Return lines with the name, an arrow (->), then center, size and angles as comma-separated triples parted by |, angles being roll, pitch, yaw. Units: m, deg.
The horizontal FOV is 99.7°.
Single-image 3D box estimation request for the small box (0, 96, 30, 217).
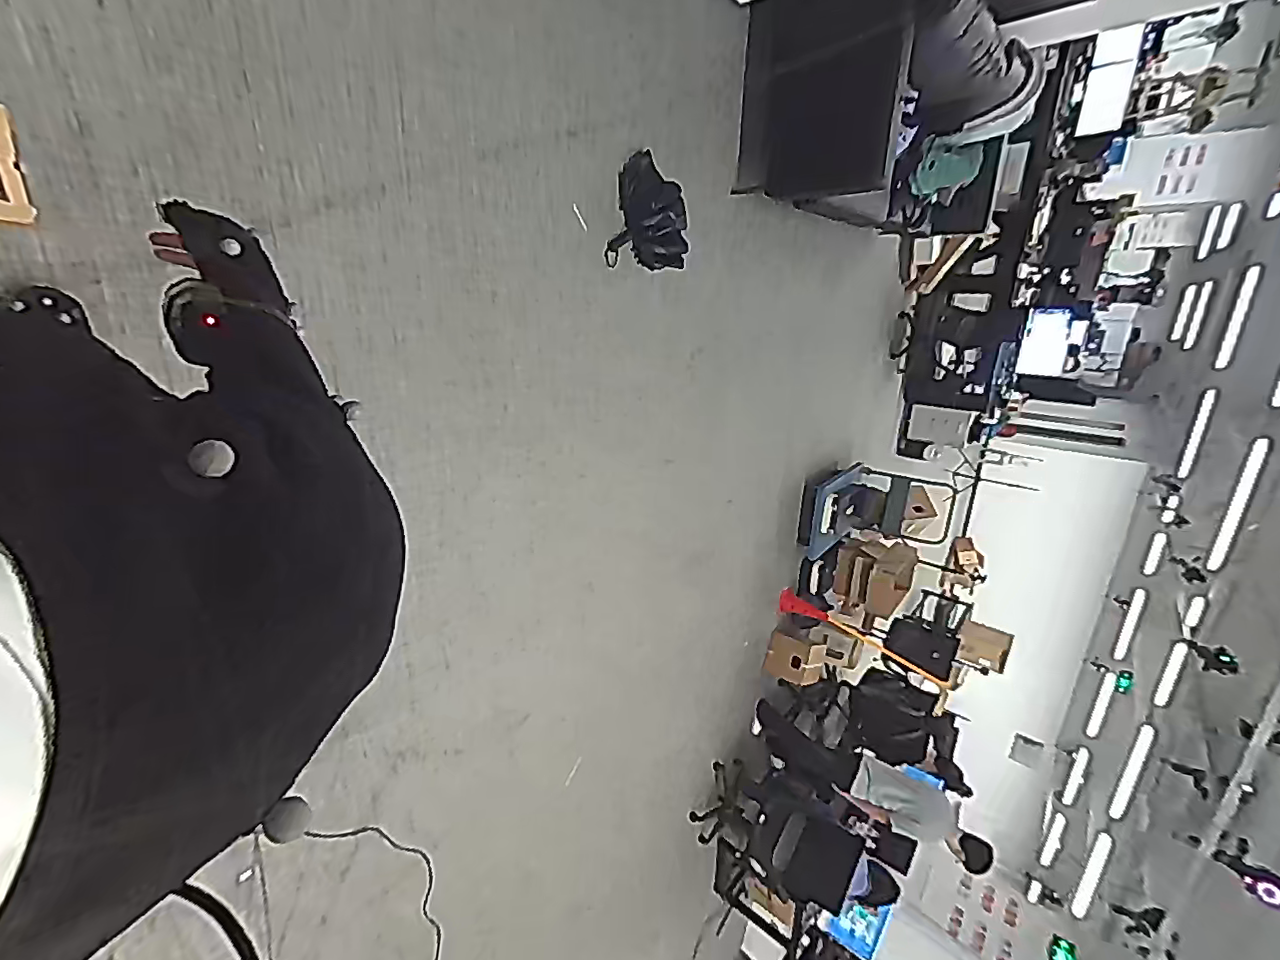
small box -> -1.070, -0.499, 0.810 | 0.179, 0.176, 0.168 | -16, 115, -47
